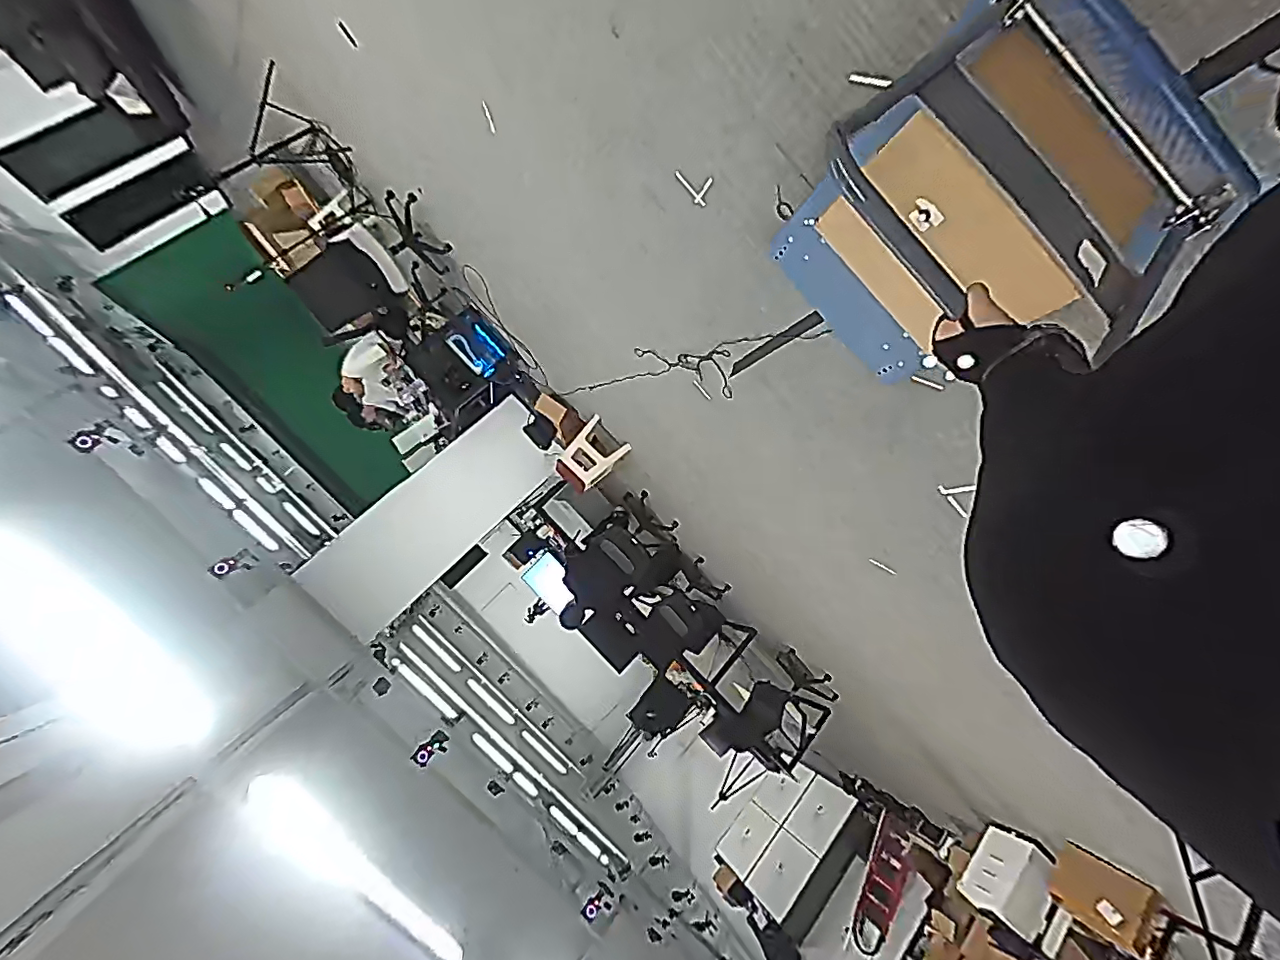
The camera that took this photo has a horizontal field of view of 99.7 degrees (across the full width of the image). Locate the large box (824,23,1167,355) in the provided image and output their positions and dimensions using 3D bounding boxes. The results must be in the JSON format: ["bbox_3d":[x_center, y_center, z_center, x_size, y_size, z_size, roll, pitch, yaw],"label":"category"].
[{"bbox_3d":[0.658,-0.528,1.038,0.408,0.320,0.320,47,162,-3],"label":"large box"}]
